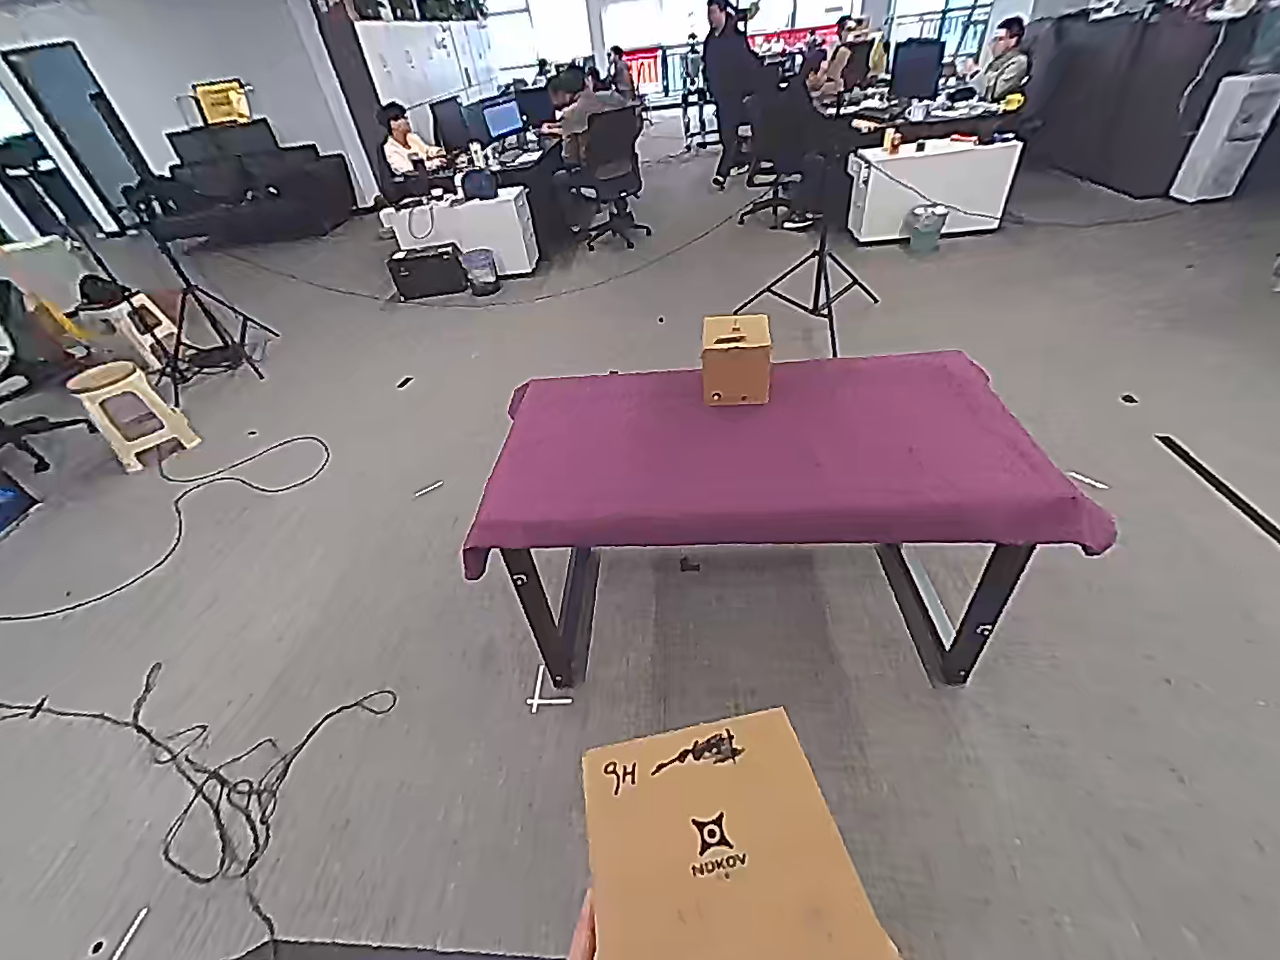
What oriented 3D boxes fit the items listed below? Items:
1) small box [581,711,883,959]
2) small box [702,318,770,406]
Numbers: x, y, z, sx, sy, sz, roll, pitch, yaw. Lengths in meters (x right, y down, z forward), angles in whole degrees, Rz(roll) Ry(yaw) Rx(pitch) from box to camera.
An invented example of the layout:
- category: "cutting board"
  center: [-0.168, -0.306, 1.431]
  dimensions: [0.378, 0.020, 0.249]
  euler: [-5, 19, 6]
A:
- category: "small box"
  center: [0.056, 0.311, 0.400]
  dimensions: [0.168, 0.176, 0.179]
  euler: [-11, 34, -4]
- category: "small box"
  center: [0.253, -0.306, 1.419]
  dimensions: [0.168, 0.176, 0.179]
  euler: [0, 41, 9]
